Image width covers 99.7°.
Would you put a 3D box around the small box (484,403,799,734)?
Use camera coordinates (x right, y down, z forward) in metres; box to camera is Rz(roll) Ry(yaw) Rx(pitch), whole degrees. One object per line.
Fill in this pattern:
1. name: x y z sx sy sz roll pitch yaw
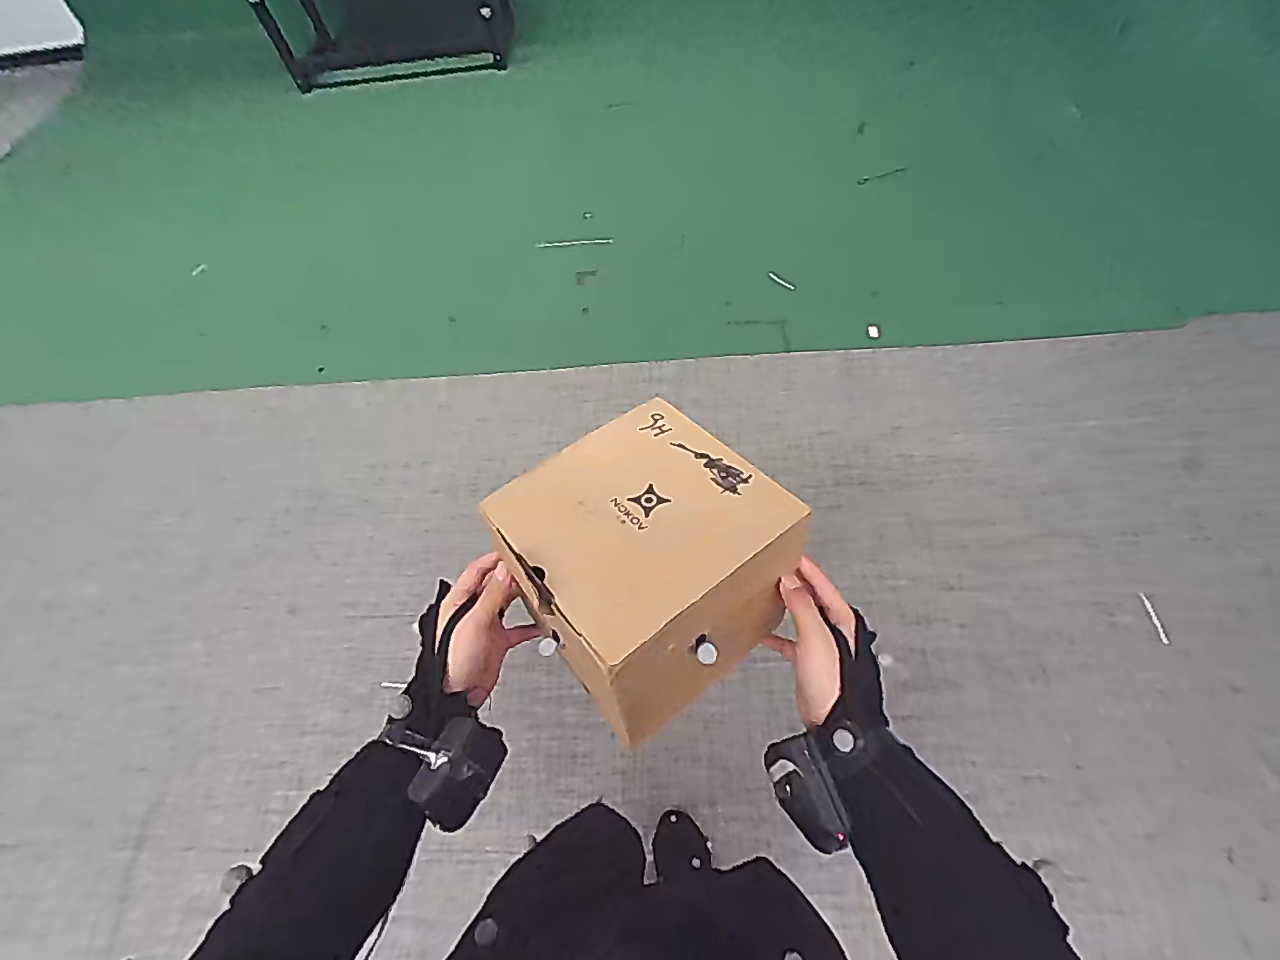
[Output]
1. small box: 0.005 0.074 0.450 0.179 0.176 0.168 -33 54 -21
